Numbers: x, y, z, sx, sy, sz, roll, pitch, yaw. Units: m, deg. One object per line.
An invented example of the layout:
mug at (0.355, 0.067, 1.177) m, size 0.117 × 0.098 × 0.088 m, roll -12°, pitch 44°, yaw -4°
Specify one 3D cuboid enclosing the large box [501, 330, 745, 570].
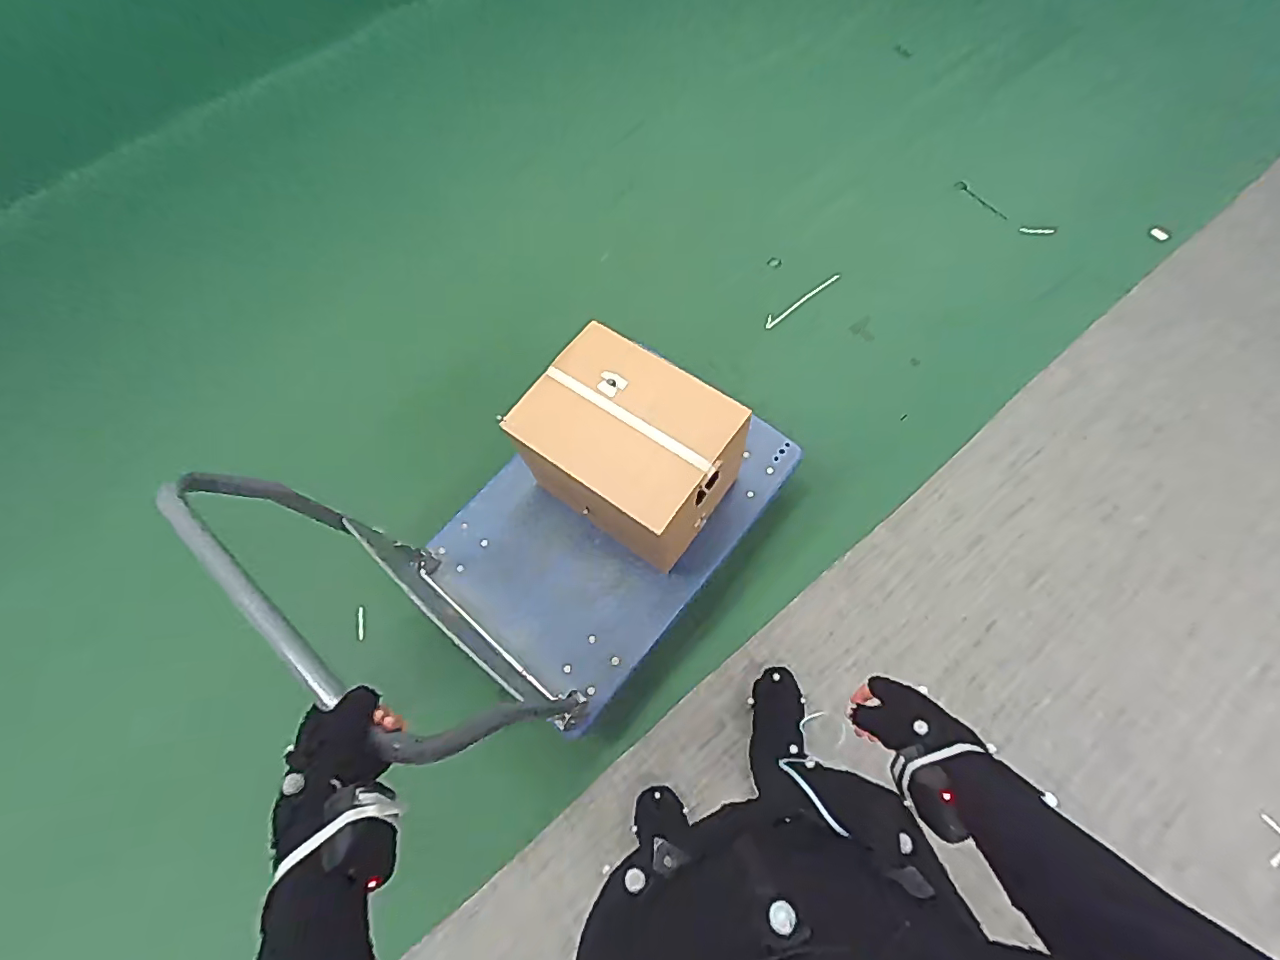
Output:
large box at (-0.020, -0.056, 1.215) m, size 0.408 × 0.320 × 0.320 m, roll 33°, pitch 73°, yaw 18°
